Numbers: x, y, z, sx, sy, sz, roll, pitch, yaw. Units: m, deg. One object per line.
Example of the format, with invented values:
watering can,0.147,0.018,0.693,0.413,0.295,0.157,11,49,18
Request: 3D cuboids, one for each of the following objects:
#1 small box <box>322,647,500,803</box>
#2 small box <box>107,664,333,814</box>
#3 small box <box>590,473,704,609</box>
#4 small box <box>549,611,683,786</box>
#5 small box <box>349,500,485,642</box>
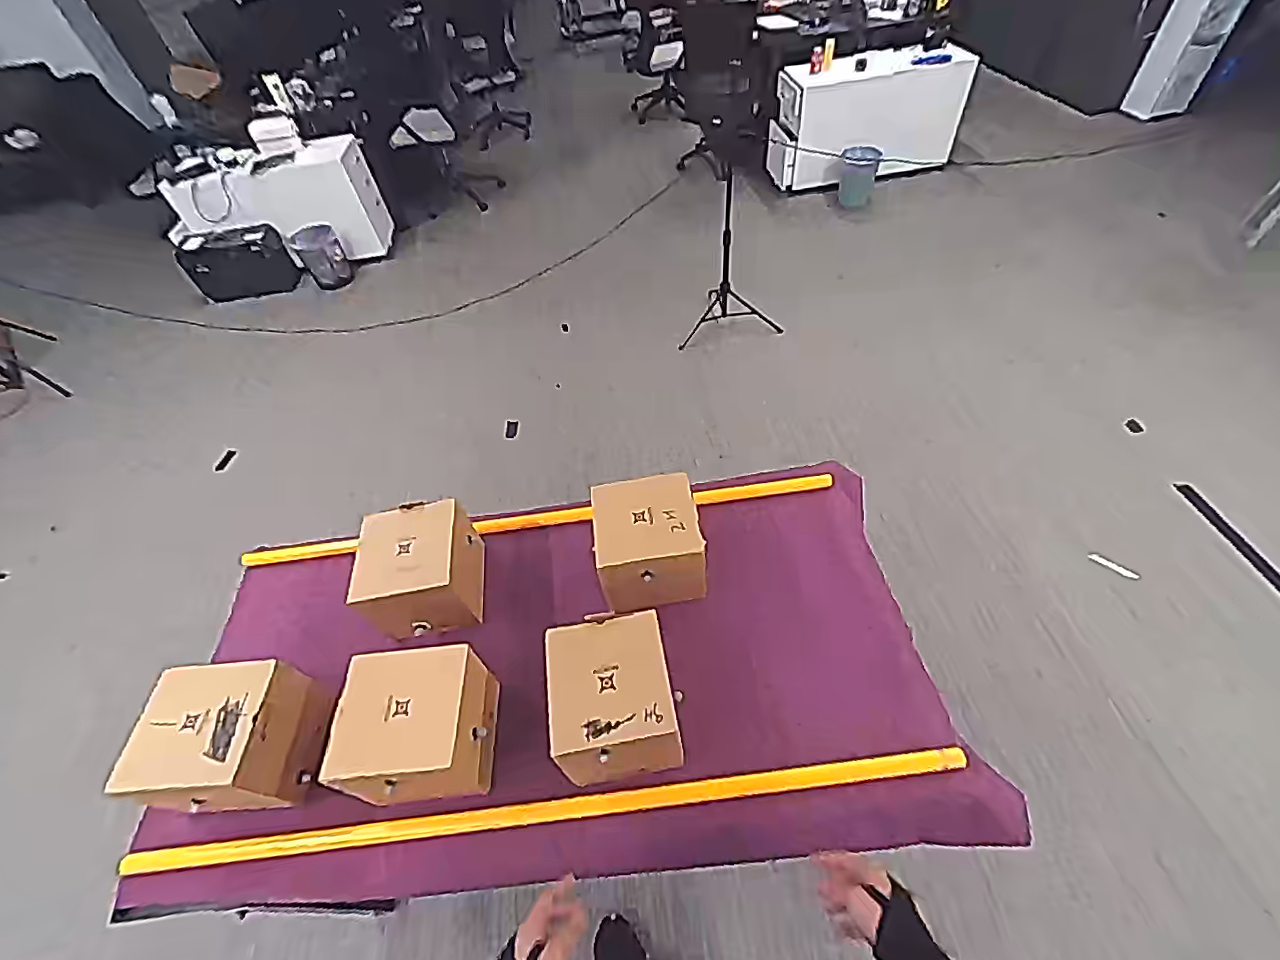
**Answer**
small box,-0.317,0.363,0.795,0.179,0.176,0.168,-7,50,2
small box,-0.599,0.388,0.805,0.179,0.176,0.168,-5,50,3
small box,0.014,0.113,0.958,0.179,0.176,0.168,-9,52,0
small box,-0.035,0.321,0.793,0.168,0.176,0.179,-11,48,-1
small box,-0.384,0.164,0.967,0.168,0.176,0.179,-11,51,-1
